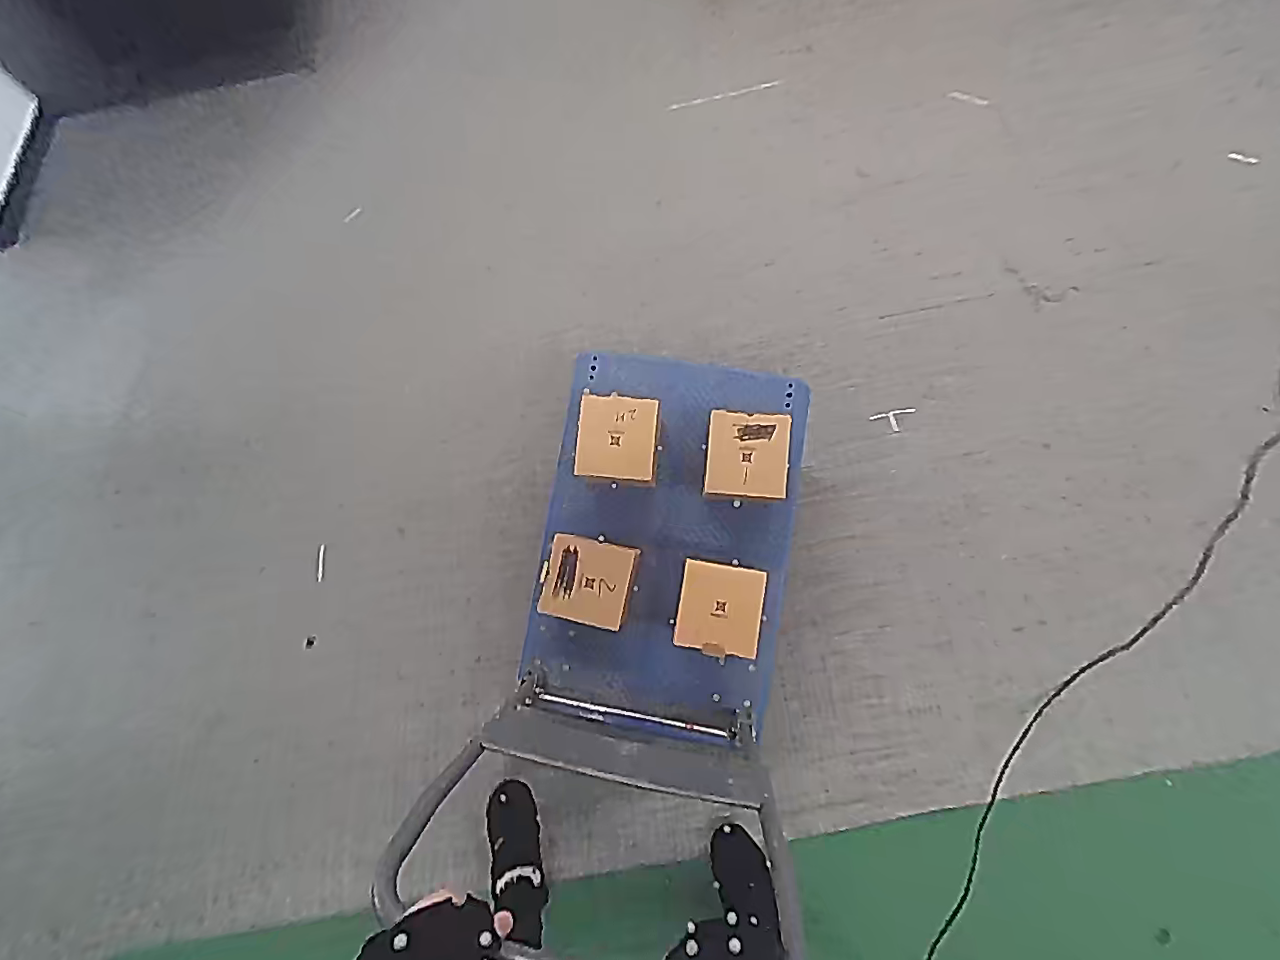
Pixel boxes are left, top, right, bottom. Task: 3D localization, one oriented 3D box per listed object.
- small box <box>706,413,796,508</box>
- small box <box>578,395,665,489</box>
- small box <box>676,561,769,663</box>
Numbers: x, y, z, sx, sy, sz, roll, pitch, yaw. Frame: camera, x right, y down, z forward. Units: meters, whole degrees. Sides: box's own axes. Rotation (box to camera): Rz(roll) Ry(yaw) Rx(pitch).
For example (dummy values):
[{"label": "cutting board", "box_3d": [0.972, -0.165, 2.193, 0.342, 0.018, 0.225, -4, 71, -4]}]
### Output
[{"label": "small box", "box_3d": [0.237, -0.038, 1.188, 0.168, 0.176, 0.179, 6, 85, 6]}, {"label": "small box", "box_3d": [-0.035, -0.078, 1.216, 0.168, 0.176, 0.179, 6, 84, 5]}, {"label": "small box", "box_3d": [0.170, 0.272, 1.159, 0.168, 0.176, 0.179, 10, 85, 6]}]
